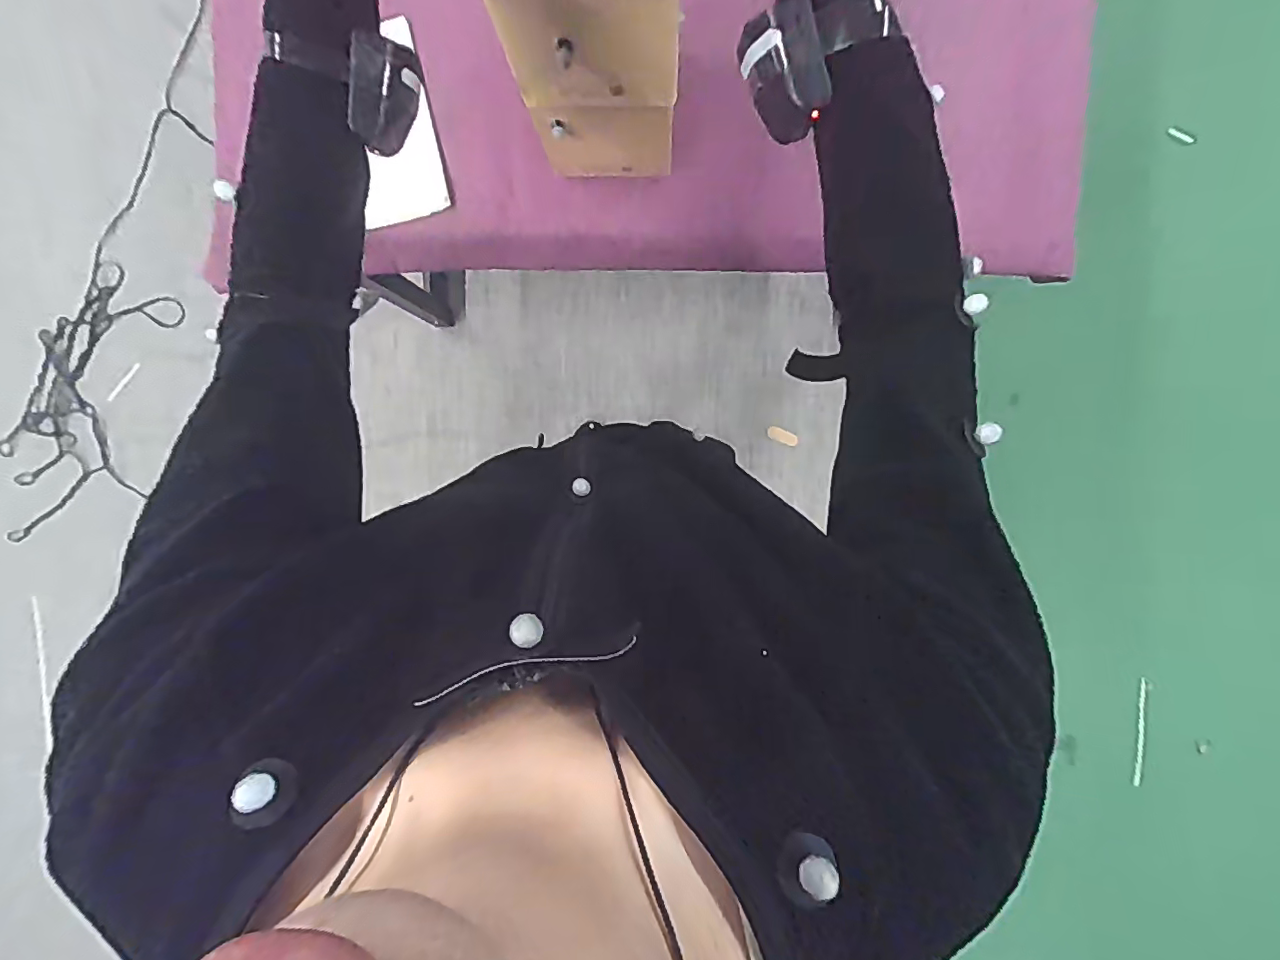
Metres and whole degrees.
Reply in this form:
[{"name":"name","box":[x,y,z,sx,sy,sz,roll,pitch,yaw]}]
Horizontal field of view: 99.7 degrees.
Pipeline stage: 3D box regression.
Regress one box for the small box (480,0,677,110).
[{"name":"small box","box":[-0.047,-0.488,0.515,0.168,0.176,0.179,2,93,2]}]
